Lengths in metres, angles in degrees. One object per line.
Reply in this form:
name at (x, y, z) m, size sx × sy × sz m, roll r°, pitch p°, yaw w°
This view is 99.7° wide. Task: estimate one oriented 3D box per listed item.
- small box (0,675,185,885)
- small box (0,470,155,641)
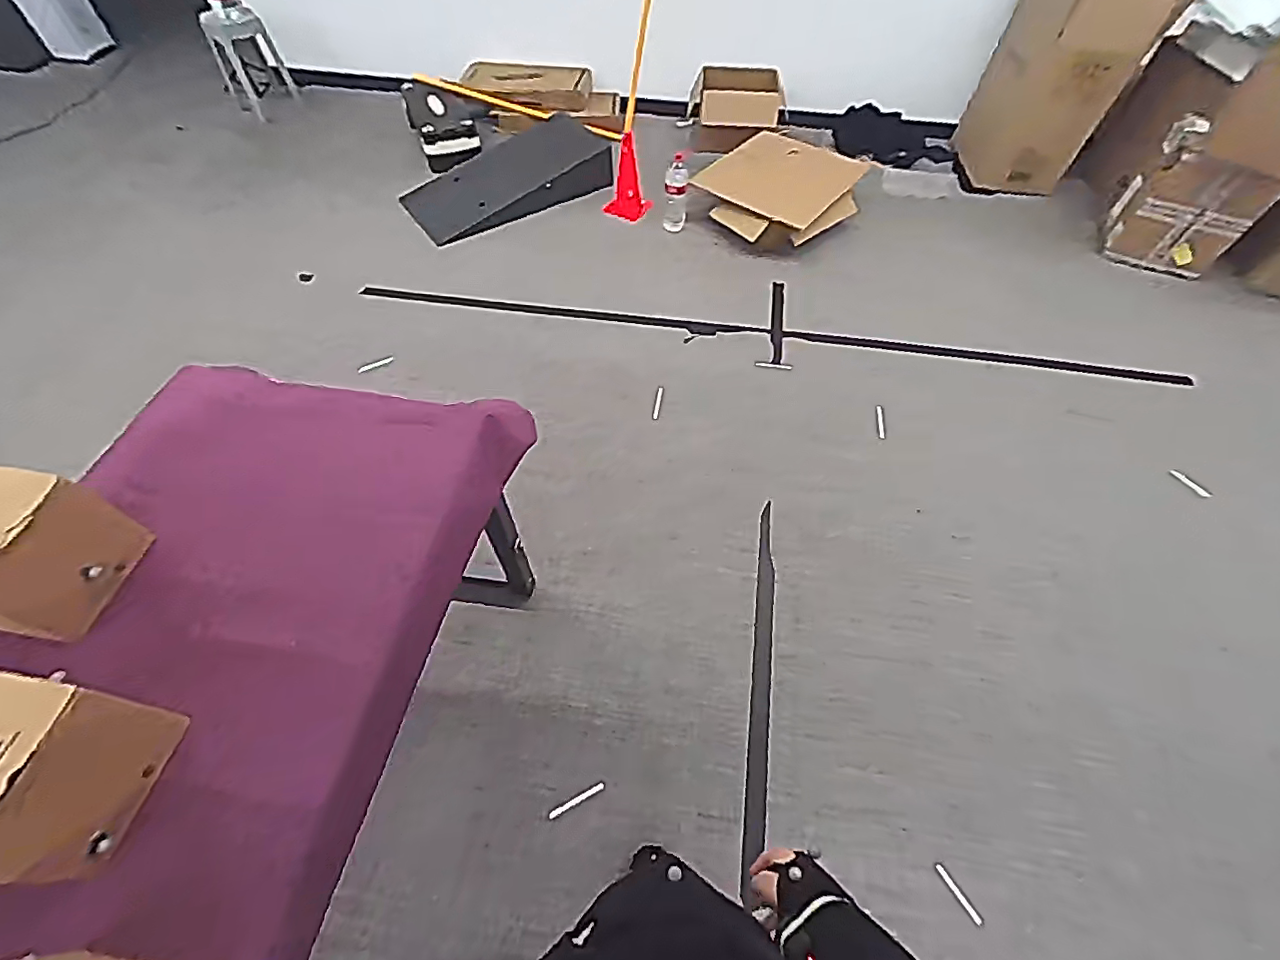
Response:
small box at (-0.656, 0.313, 0.575) m, size 0.179 × 0.176 × 0.168 m, roll 7°, pitch 55°, yaw 5°
small box at (-0.826, 0.101, 0.717) m, size 0.179 × 0.176 × 0.168 m, roll 8°, pitch 56°, yaw 3°
